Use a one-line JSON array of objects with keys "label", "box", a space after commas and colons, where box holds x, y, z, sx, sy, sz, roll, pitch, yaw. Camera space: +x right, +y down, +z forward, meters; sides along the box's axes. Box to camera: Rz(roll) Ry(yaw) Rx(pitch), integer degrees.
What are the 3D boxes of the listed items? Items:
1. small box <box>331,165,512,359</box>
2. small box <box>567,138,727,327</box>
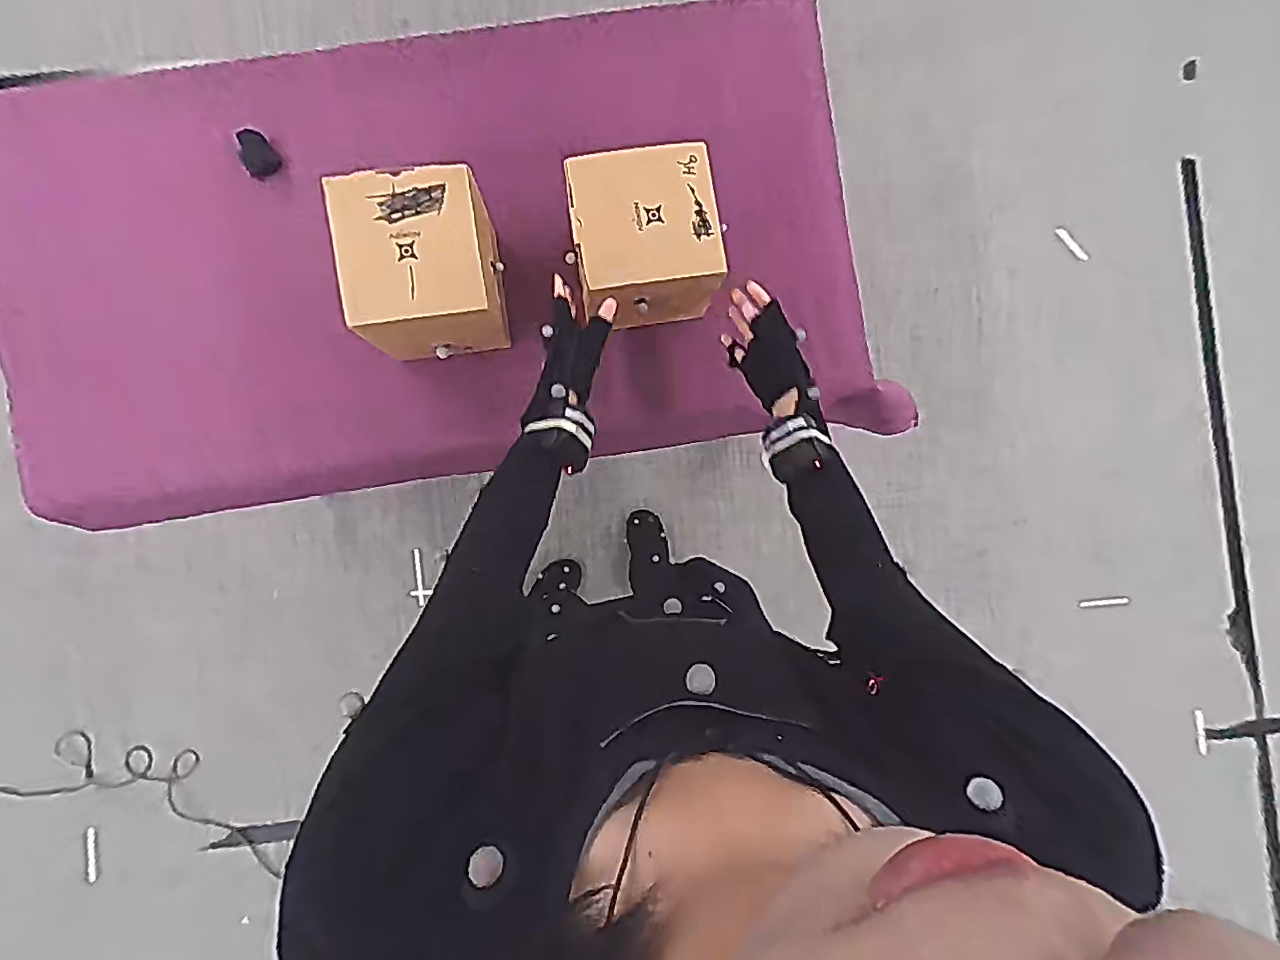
[{"label": "small box", "box": [-0.271, -0.272, 0.705, 0.168, 0.176, 0.179, -8, 89, -4]}, {"label": "small box", "box": [0.006, -0.318, 0.727, 0.179, 0.176, 0.168, -9, 88, -3]}]
